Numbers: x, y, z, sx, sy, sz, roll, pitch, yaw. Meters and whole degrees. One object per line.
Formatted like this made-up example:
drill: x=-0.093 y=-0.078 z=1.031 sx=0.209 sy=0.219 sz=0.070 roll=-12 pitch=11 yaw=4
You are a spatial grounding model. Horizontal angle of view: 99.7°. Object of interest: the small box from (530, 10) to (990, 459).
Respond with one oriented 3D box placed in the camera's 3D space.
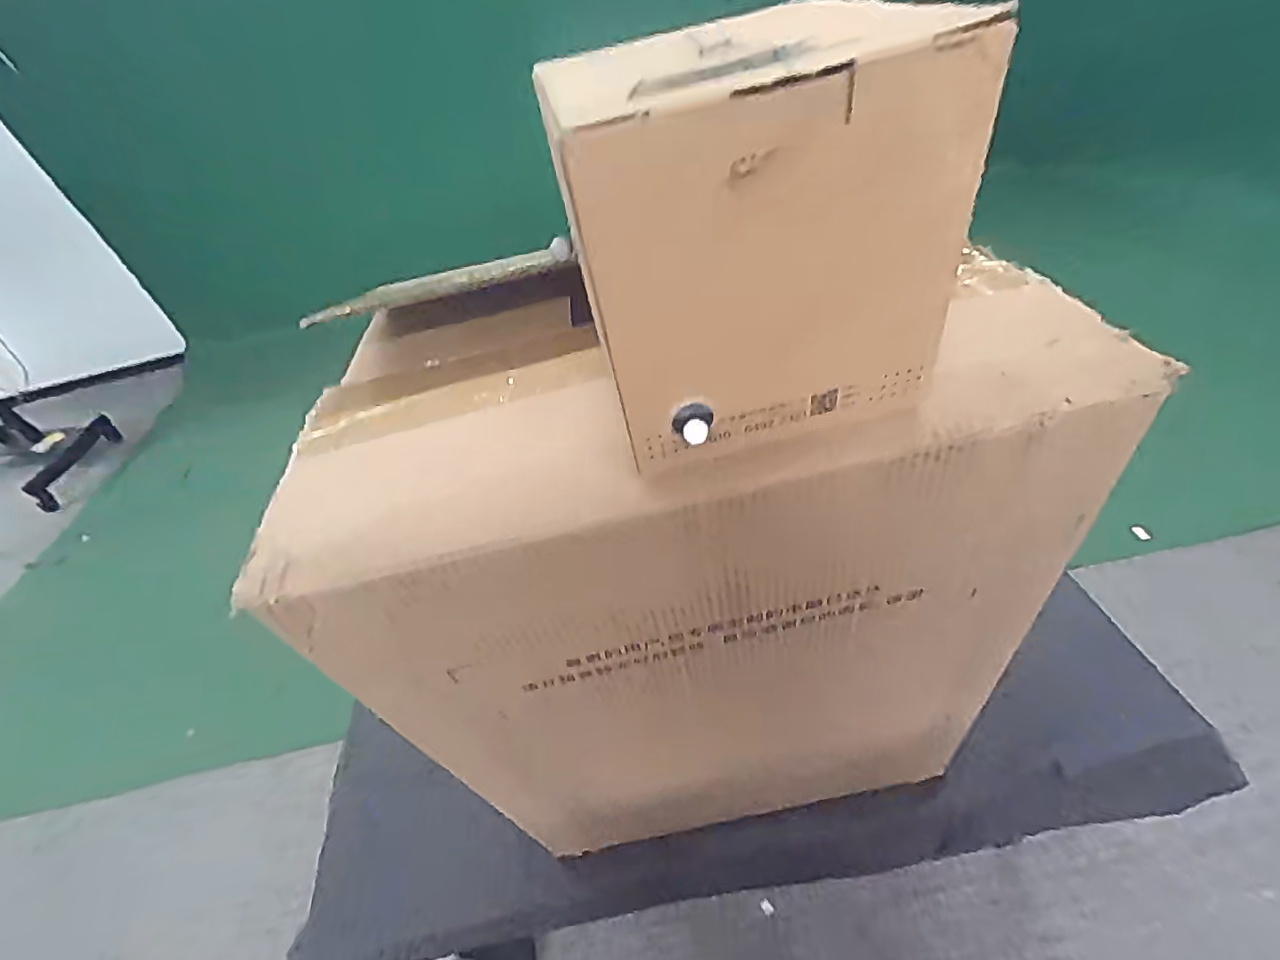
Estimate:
small box: x=0.046 y=-0.130 z=0.303 sx=0.168 sy=0.176 sz=0.179 roll=-15 pitch=43 yaw=-1
